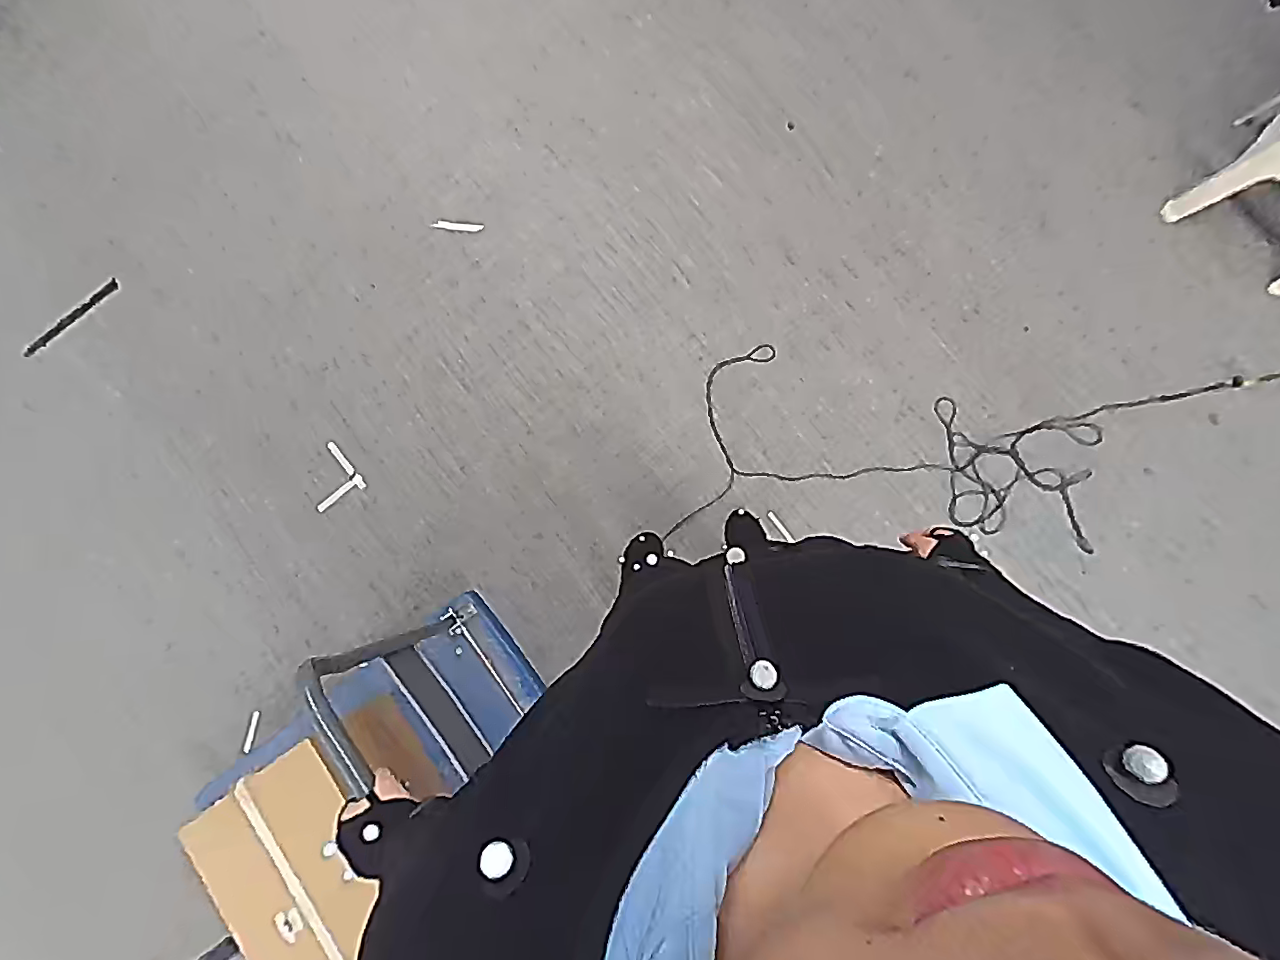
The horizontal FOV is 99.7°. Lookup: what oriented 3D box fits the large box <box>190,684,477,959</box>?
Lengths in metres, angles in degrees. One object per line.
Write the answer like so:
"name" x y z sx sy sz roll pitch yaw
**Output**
"large box" -0.635 0.736 1.184 0.320 0.320 0.408 -36 84 0
